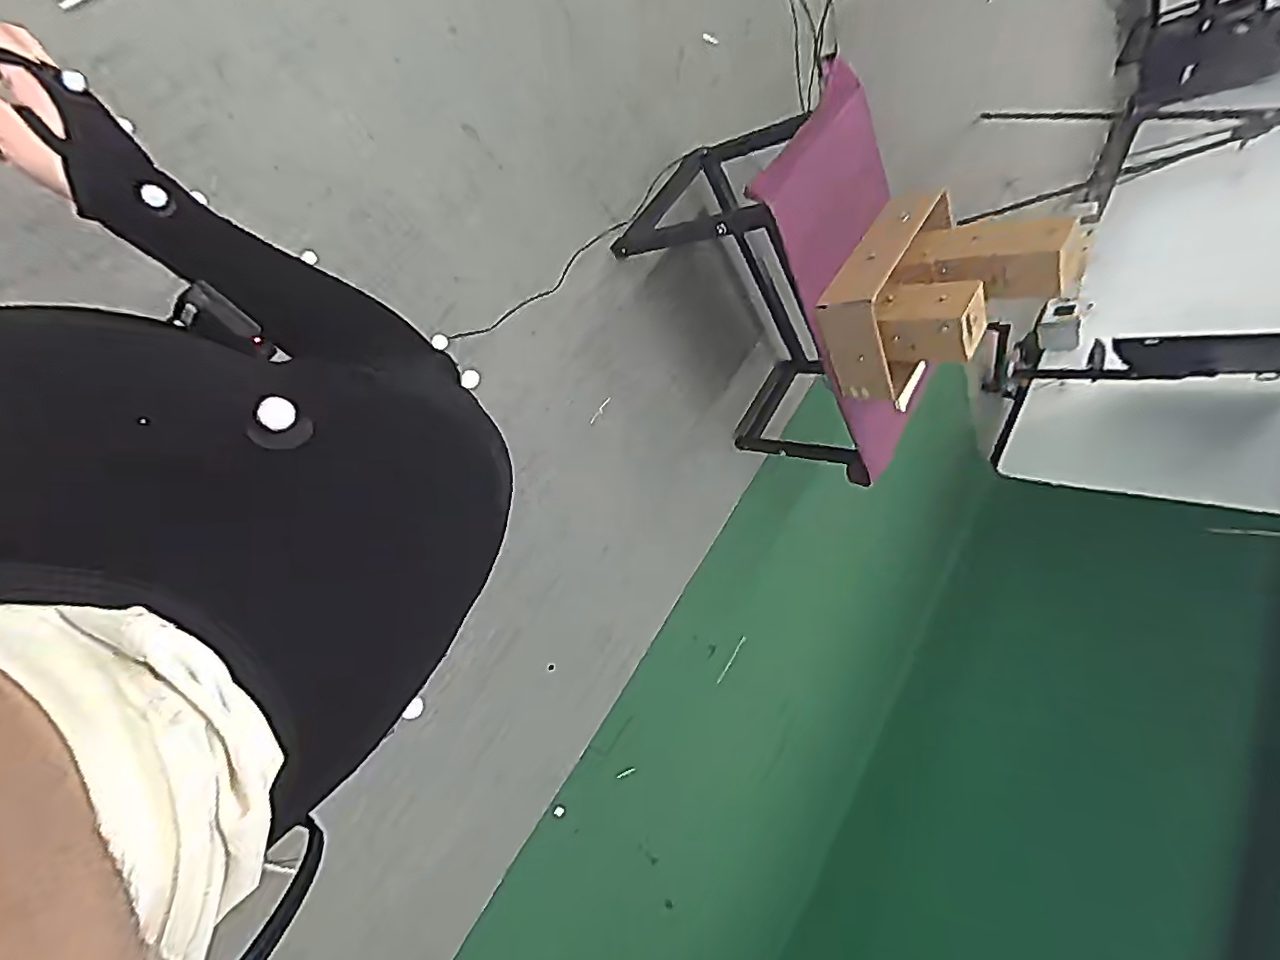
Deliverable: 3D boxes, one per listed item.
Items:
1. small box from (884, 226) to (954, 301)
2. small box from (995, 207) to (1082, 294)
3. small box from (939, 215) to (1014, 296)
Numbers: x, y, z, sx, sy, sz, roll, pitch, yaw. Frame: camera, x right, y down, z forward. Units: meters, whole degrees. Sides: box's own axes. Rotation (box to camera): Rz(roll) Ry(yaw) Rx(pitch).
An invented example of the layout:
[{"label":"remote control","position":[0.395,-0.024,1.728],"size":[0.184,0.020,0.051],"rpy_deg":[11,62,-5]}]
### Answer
[{"label":"small box","position":[0.956,-0.731,1.834],"size":[0.179,0.176,0.168],"rpy_deg":[-54,130,-17]},{"label":"small box","position":[1.177,-0.673,1.600],"size":[0.179,0.176,0.168],"rpy_deg":[-54,130,-17]},{"label":"small box","position":[1.069,-0.706,1.717],"size":[0.179,0.176,0.168],"rpy_deg":[-55,131,-18]}]
